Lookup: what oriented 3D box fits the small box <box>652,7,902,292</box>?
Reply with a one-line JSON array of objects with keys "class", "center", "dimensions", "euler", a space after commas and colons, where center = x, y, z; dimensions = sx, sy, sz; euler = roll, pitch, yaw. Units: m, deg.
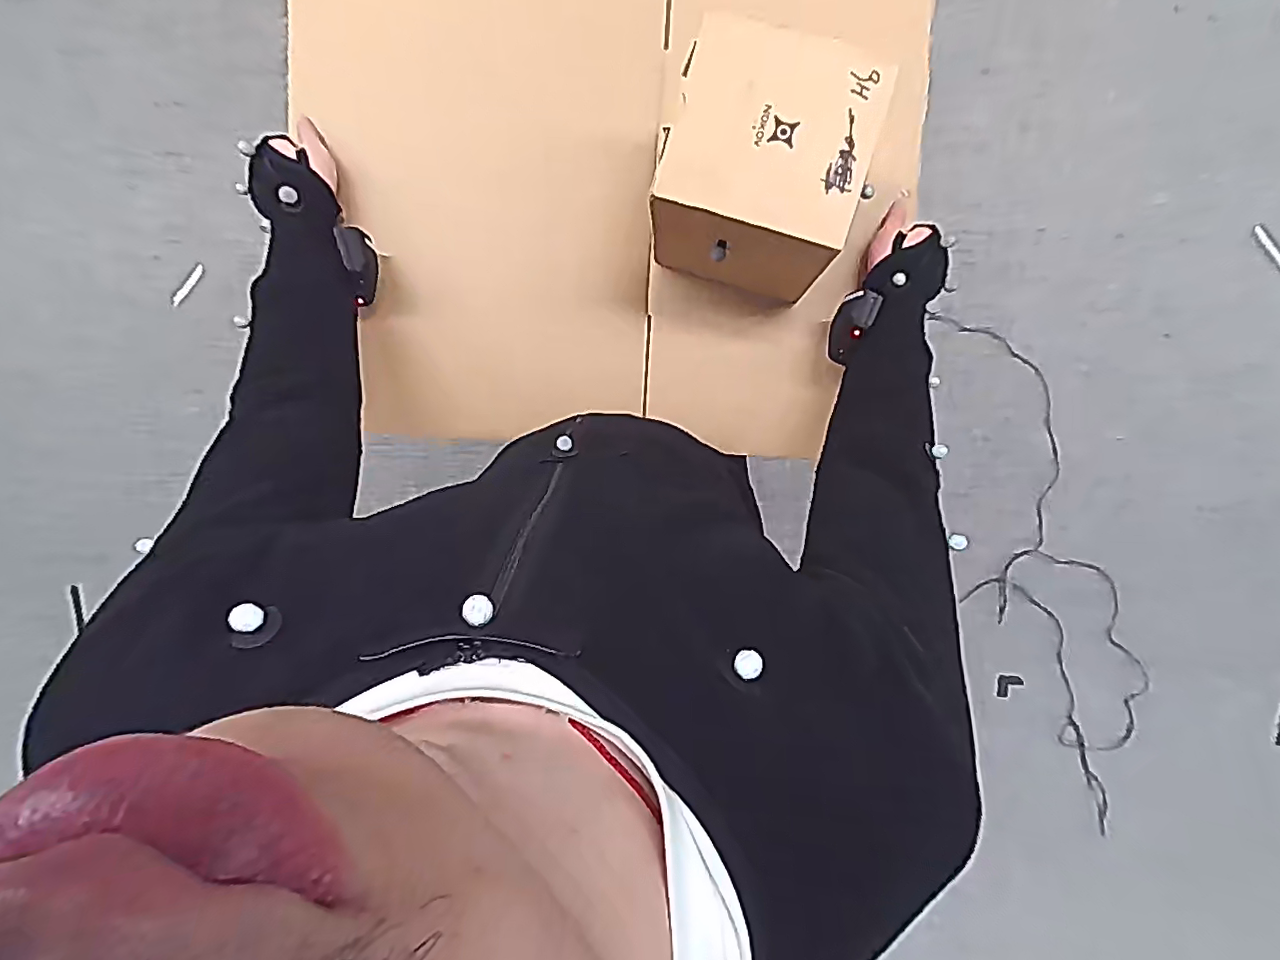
[{"class": "small box", "center": [0.121, -0.309, 0.546], "dimensions": [0.179, 0.176, 0.168], "euler": [18, 94, 3]}]
